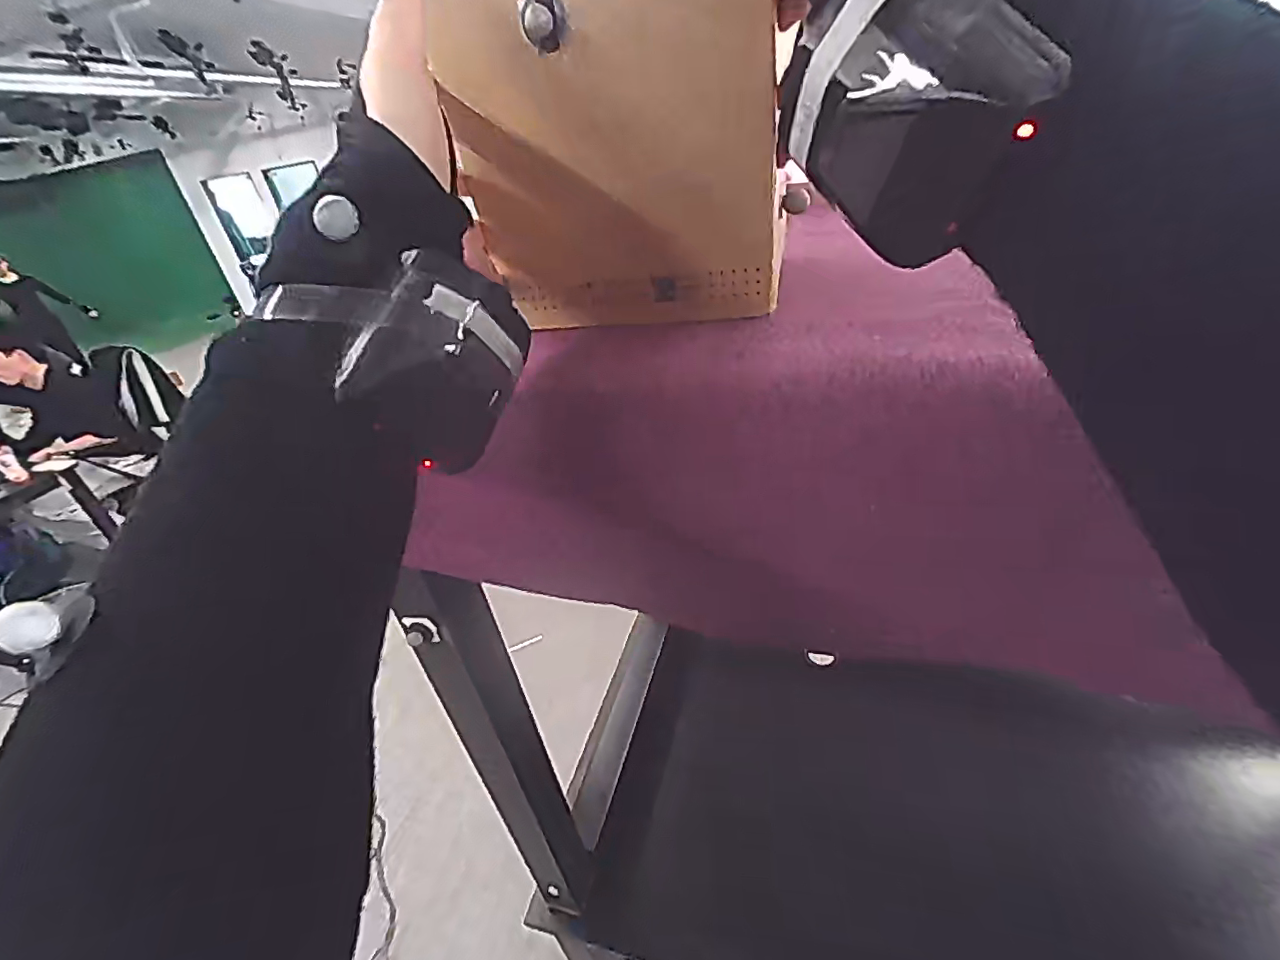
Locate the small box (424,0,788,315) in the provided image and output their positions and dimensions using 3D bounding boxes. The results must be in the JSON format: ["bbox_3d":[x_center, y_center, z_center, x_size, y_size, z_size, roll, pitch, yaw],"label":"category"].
[{"bbox_3d":[0.003,-0.215,0.333,0.168,0.176,0.179,1,39,15],"label":"small box"}]
